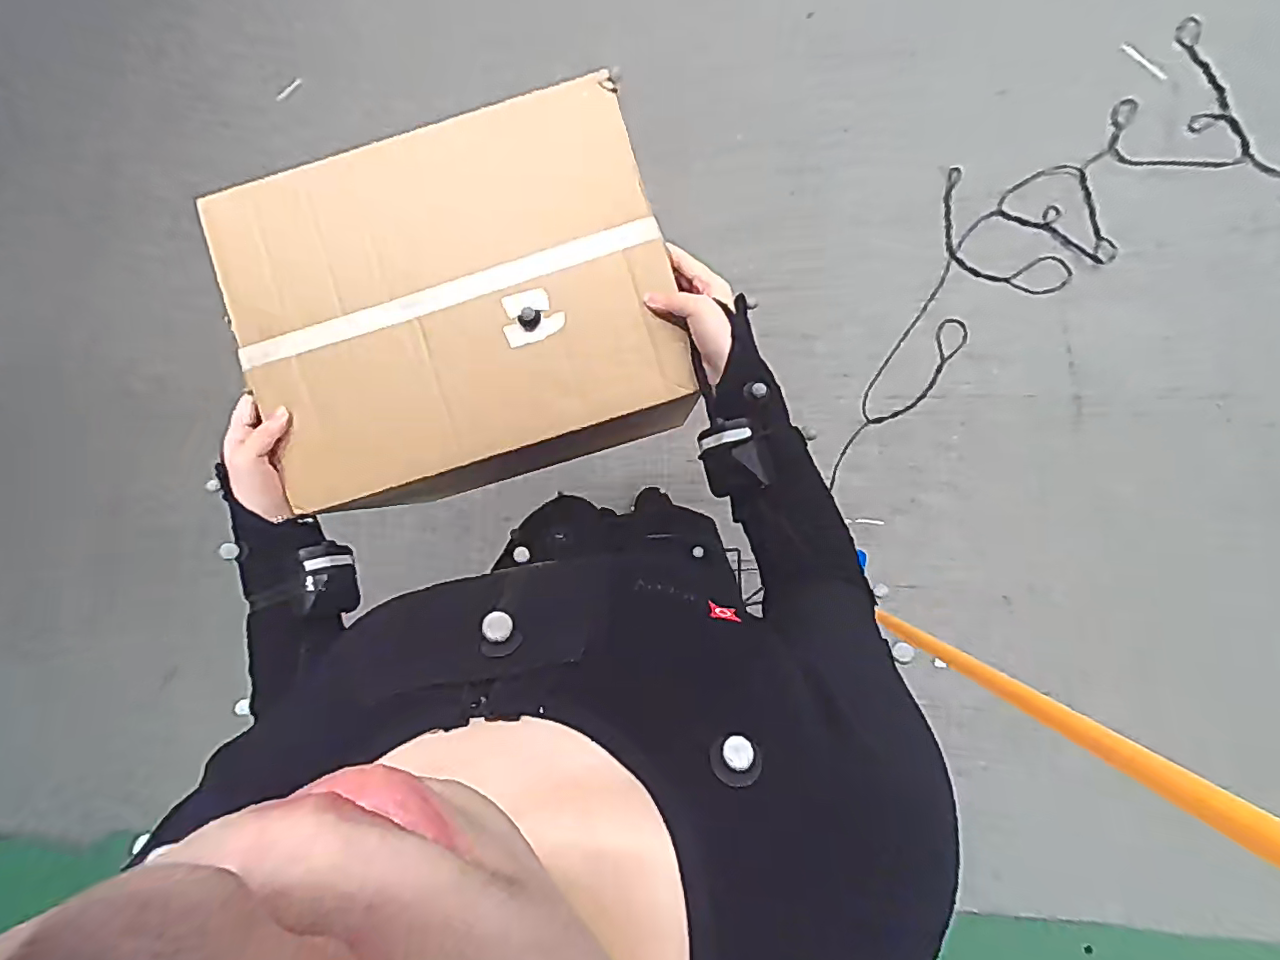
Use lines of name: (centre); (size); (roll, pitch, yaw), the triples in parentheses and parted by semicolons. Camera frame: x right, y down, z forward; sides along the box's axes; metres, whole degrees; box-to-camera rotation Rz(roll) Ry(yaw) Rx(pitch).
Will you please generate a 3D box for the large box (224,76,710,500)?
large box: (-0.167, -0.180, 0.660); (0.408, 0.320, 0.320); (-17, 90, -1)
